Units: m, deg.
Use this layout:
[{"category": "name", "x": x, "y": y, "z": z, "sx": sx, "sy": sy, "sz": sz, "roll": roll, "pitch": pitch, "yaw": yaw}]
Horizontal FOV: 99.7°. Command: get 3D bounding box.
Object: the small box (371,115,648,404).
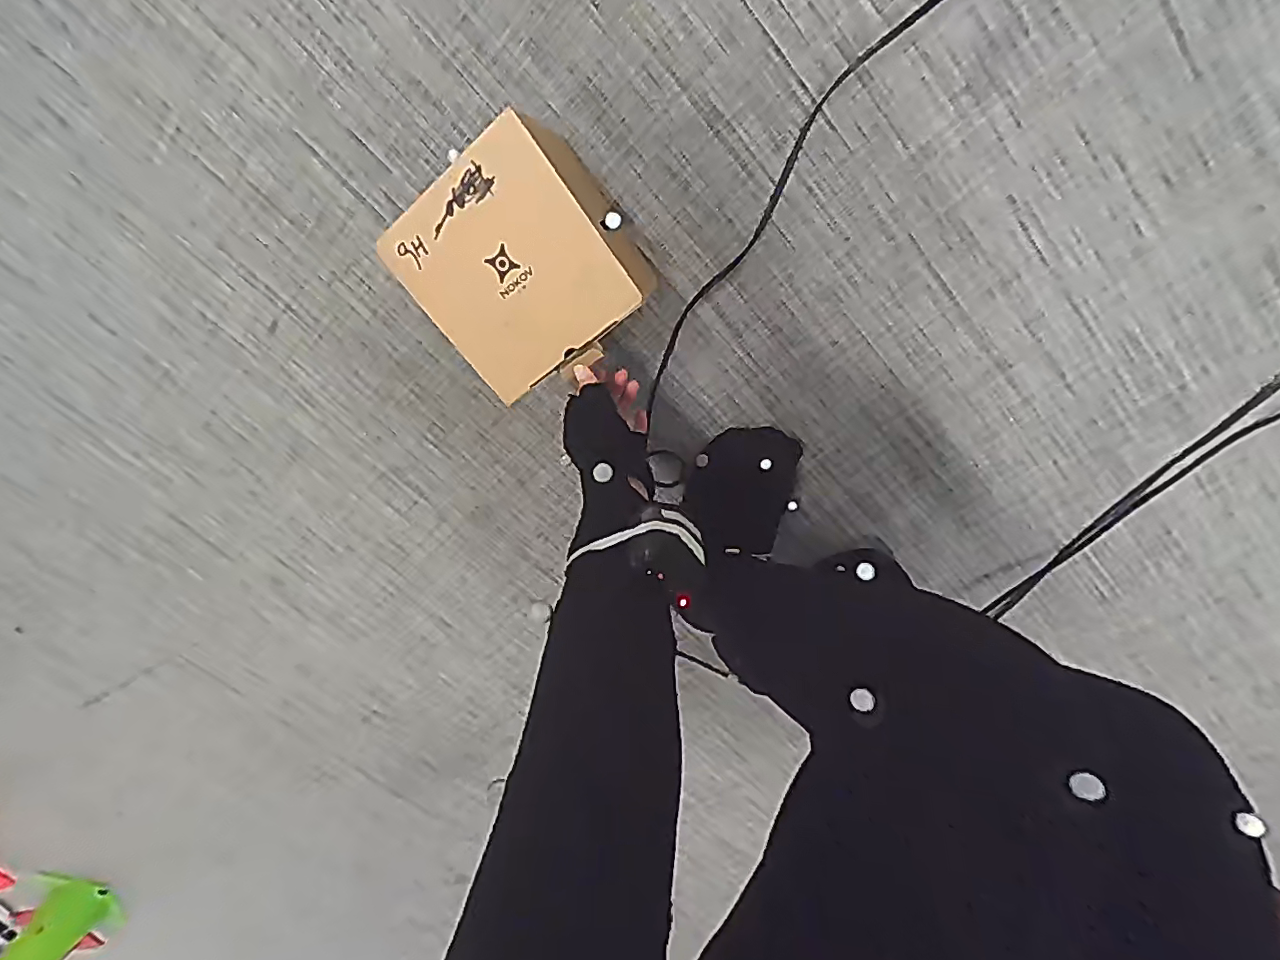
[{"category": "small box", "x": -0.105, "y": -0.209, "z": 0.525, "sx": 0.168, "sy": 0.176, "sz": 0.179, "roll": -31, "pitch": 110, "yaw": 19}]
